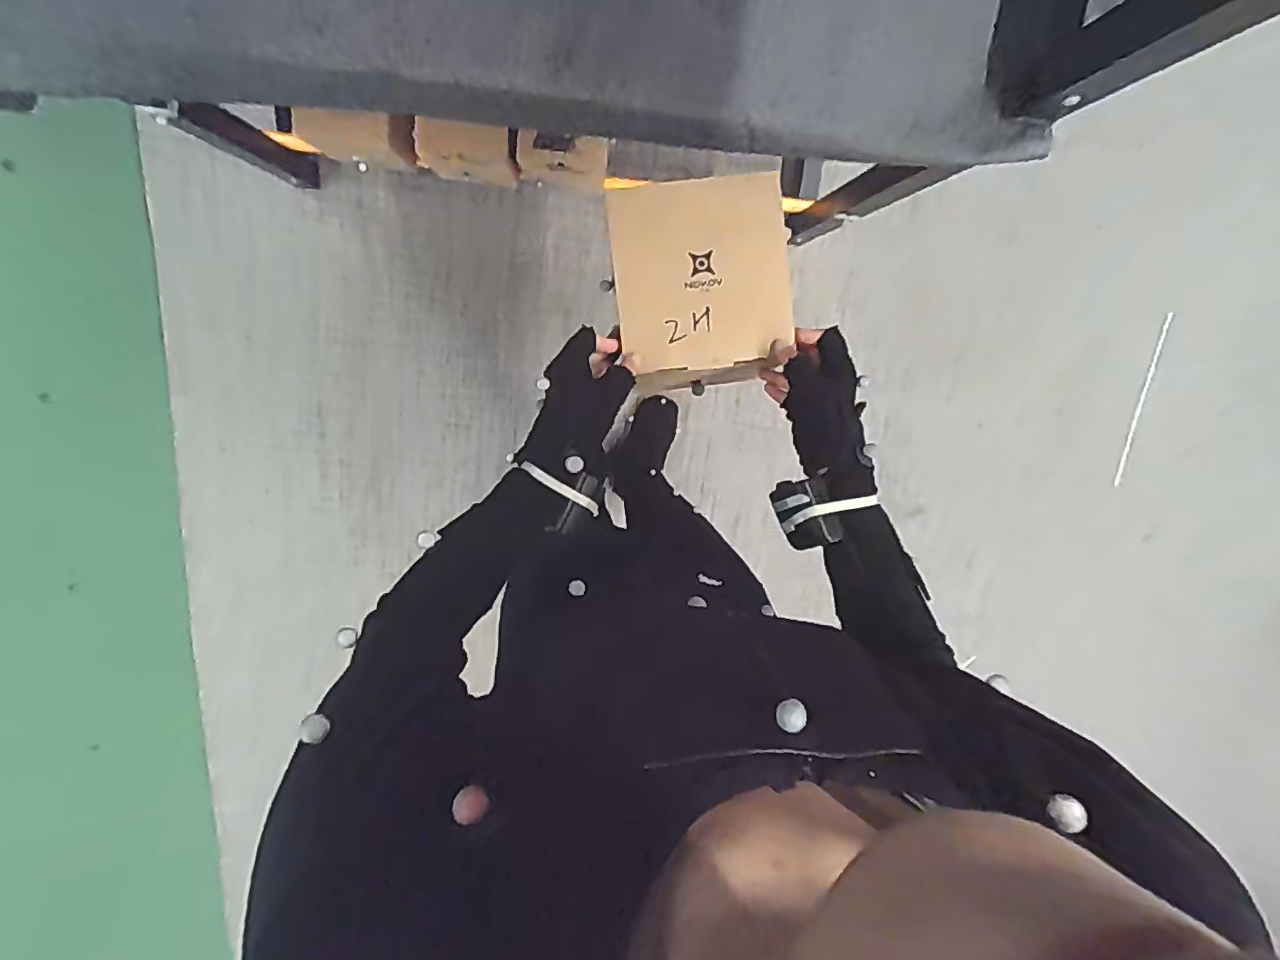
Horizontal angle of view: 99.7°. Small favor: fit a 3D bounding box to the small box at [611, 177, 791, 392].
[{"bbox_3d":[0.058,-0.201,0.600,0.168,0.176,0.179,-6,93,1],"label":"small box"}]
